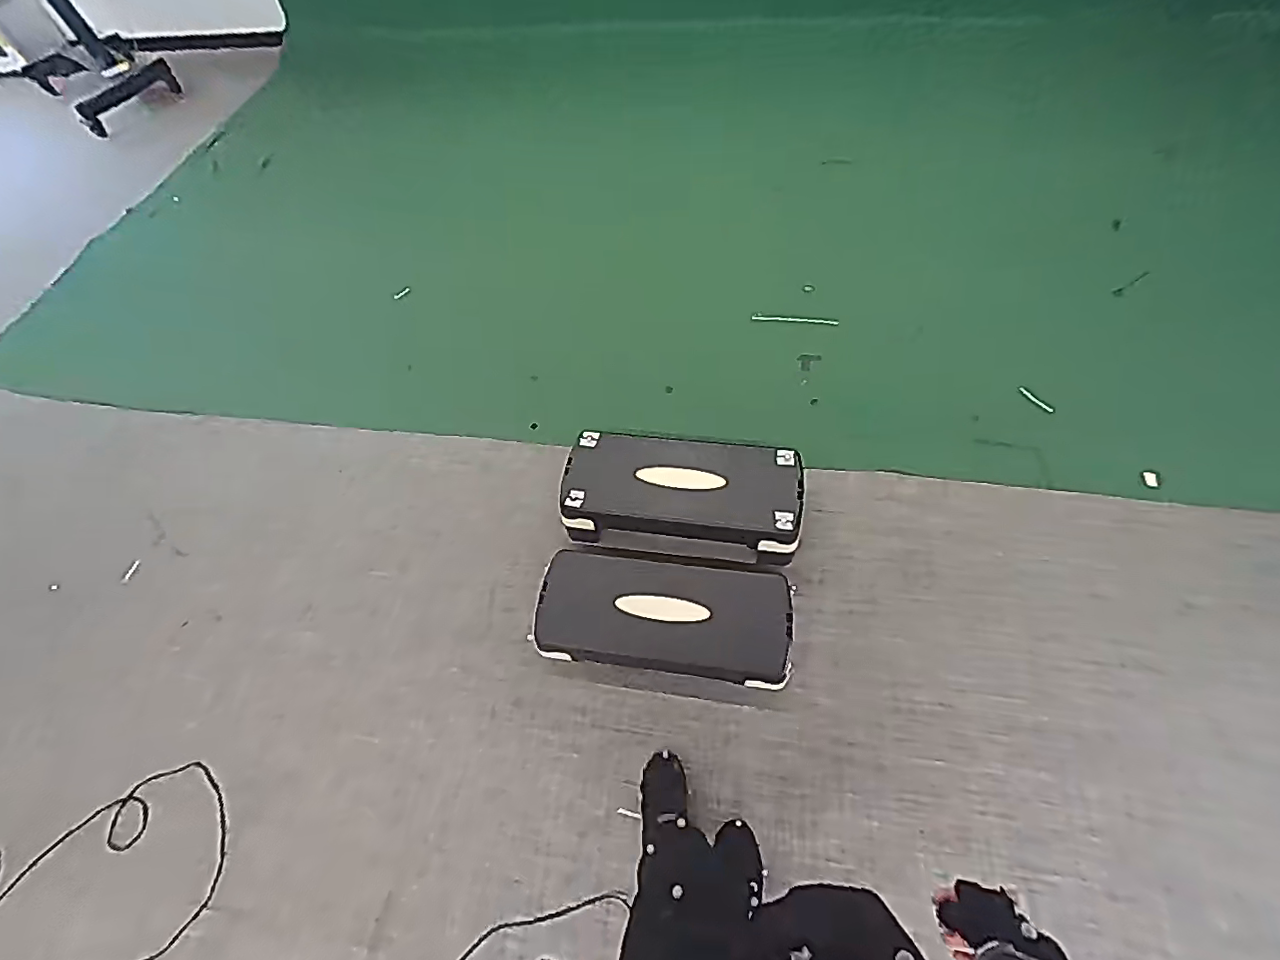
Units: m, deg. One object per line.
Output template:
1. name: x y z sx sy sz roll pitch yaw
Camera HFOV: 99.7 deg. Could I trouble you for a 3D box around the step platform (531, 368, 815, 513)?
1. step platform: 0.083 -0.102 1.399 0.684 0.204 0.286 6 61 9
